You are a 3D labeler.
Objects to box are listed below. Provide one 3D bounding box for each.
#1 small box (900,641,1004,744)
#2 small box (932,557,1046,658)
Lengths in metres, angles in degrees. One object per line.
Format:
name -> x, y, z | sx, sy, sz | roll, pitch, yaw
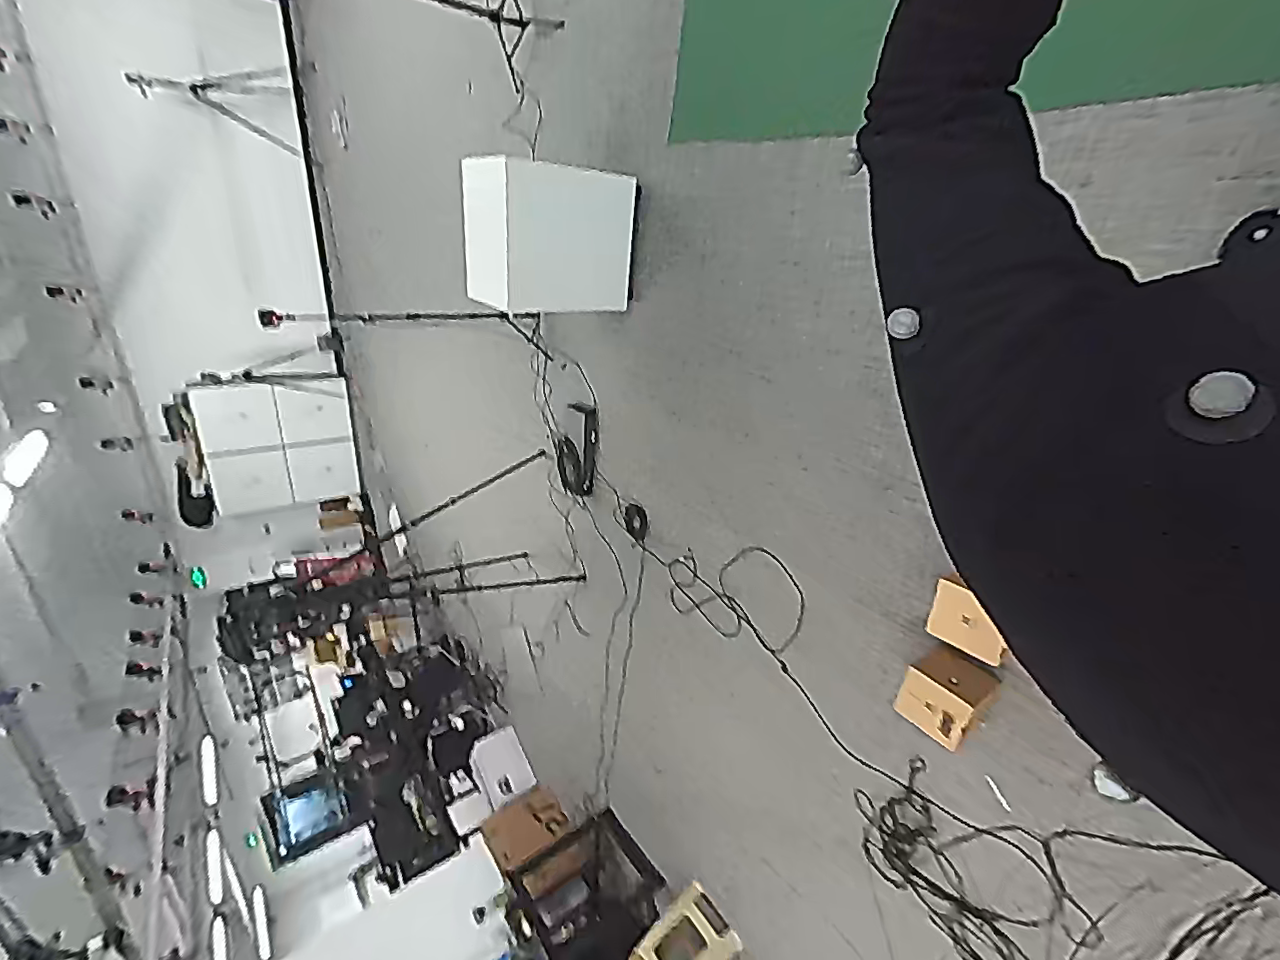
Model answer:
small box -> 0.862, 0.576, 1.492 | 0.179, 0.176, 0.168 | 33, 127, 45
small box -> 0.884, 0.311, 1.374 | 0.179, 0.176, 0.168 | 26, 122, 46
